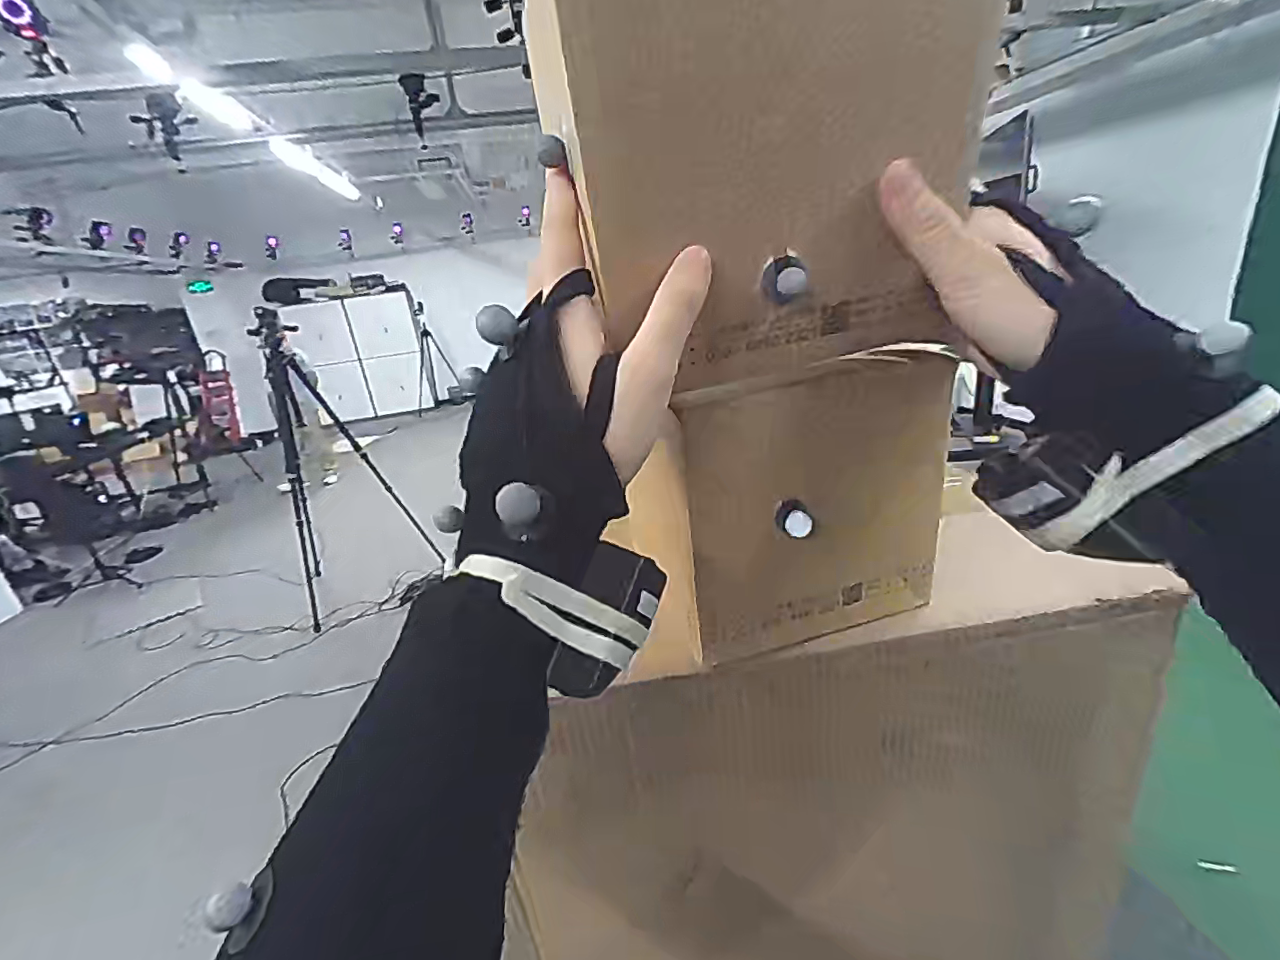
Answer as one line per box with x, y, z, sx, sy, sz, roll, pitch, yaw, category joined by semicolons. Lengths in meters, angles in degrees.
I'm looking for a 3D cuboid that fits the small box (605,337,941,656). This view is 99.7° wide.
0.081;0.004;0.390;0.168;0.176;0.179;-12;22;-11;small box
